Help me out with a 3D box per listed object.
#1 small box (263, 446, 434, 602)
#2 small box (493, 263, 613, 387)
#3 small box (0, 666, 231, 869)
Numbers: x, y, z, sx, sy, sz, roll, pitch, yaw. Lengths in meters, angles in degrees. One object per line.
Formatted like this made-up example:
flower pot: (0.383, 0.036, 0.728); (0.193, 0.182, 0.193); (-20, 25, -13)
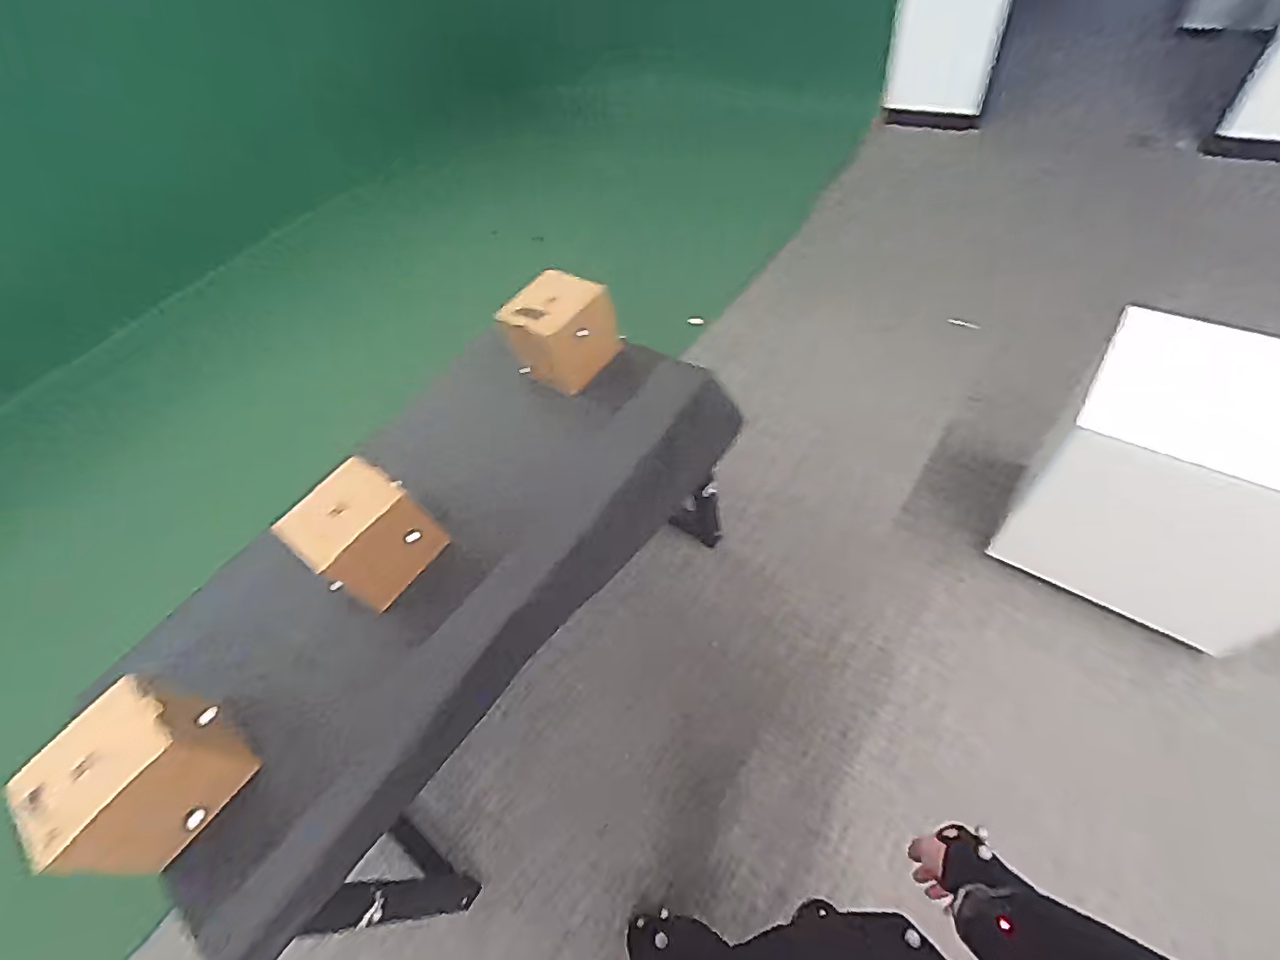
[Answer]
small box: (-0.490, 0.079, 0.943); (0.168, 0.176, 0.179); (27, 65, 28)
small box: (-0.177, -0.333, 1.173); (0.168, 0.176, 0.179); (29, 64, 27)
small box: (-0.722, 0.401, 0.753); (0.168, 0.176, 0.179); (27, 62, 27)
